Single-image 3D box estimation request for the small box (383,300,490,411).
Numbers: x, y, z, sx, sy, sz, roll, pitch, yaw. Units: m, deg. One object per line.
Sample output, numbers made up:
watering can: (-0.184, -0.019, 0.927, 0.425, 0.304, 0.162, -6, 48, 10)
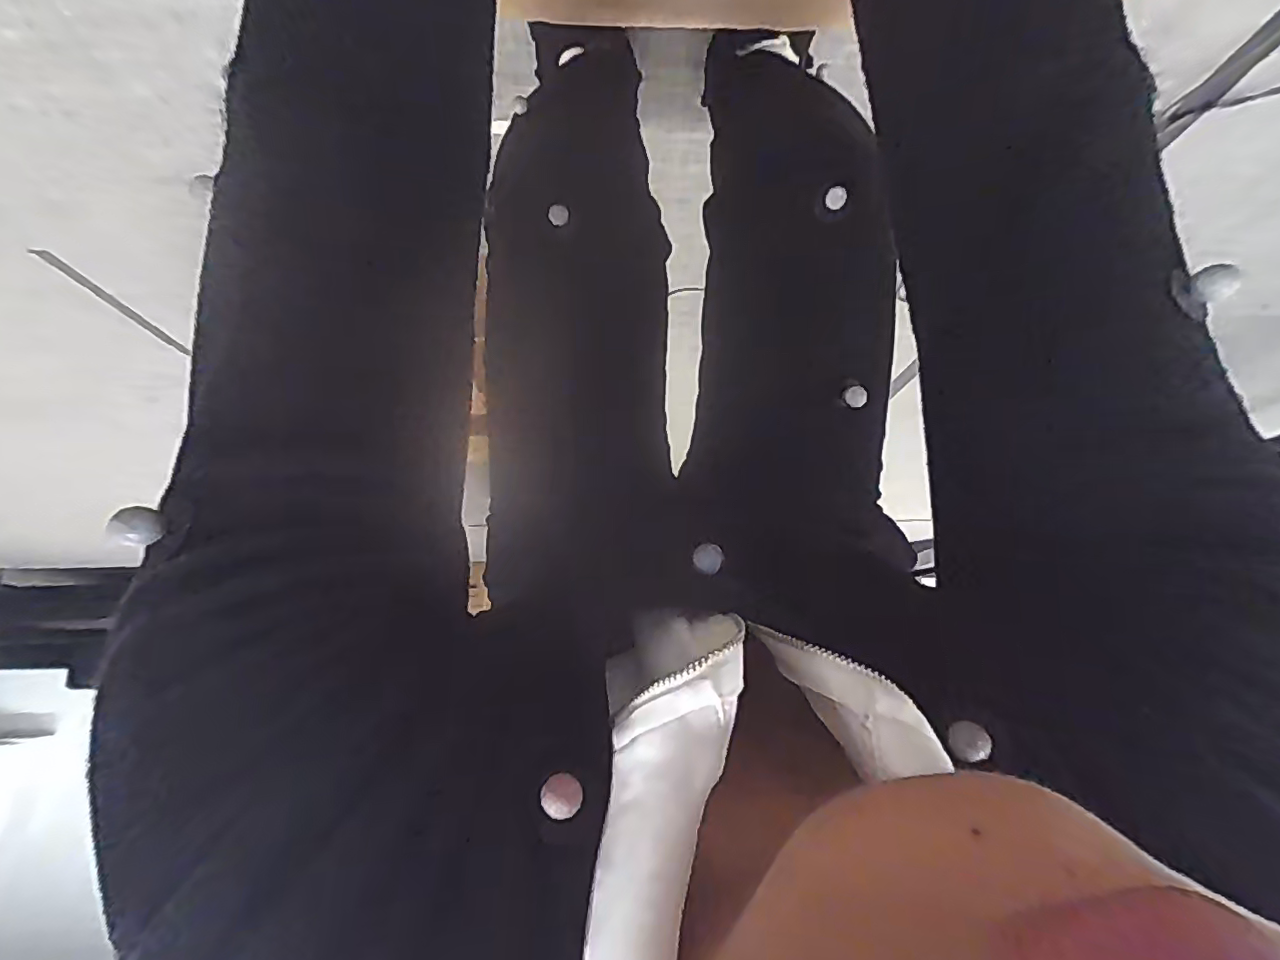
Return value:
small box: (-0.410, -0.254, 1.114, 0.179, 0.176, 0.168, -1, 163, -7)
